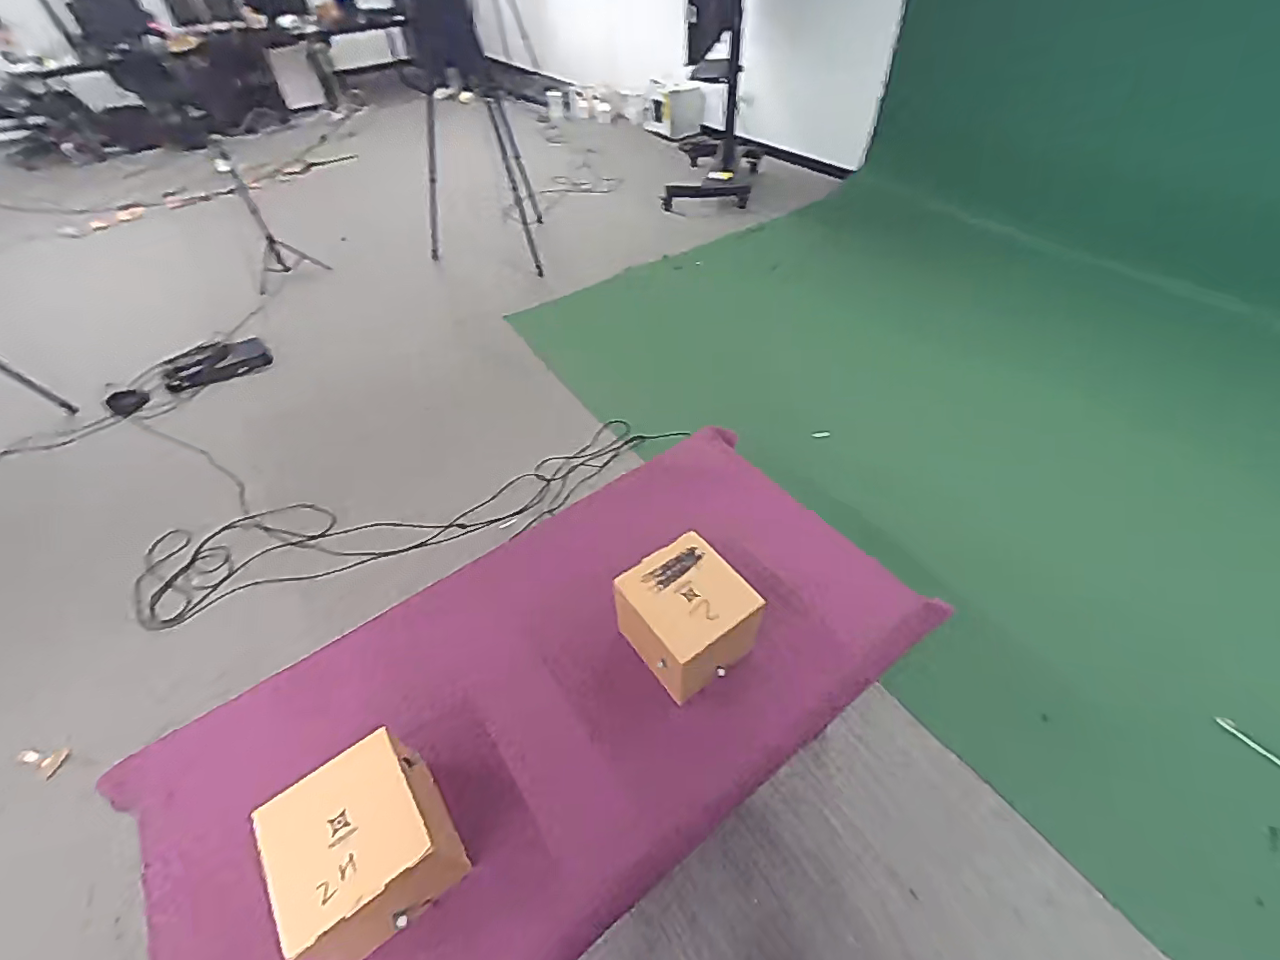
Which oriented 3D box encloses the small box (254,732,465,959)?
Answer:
[{"bbox_3d":[-0.353,0.474,0.699,0.168,0.176,0.179,-31,52,-22],"label":"small box"}]
